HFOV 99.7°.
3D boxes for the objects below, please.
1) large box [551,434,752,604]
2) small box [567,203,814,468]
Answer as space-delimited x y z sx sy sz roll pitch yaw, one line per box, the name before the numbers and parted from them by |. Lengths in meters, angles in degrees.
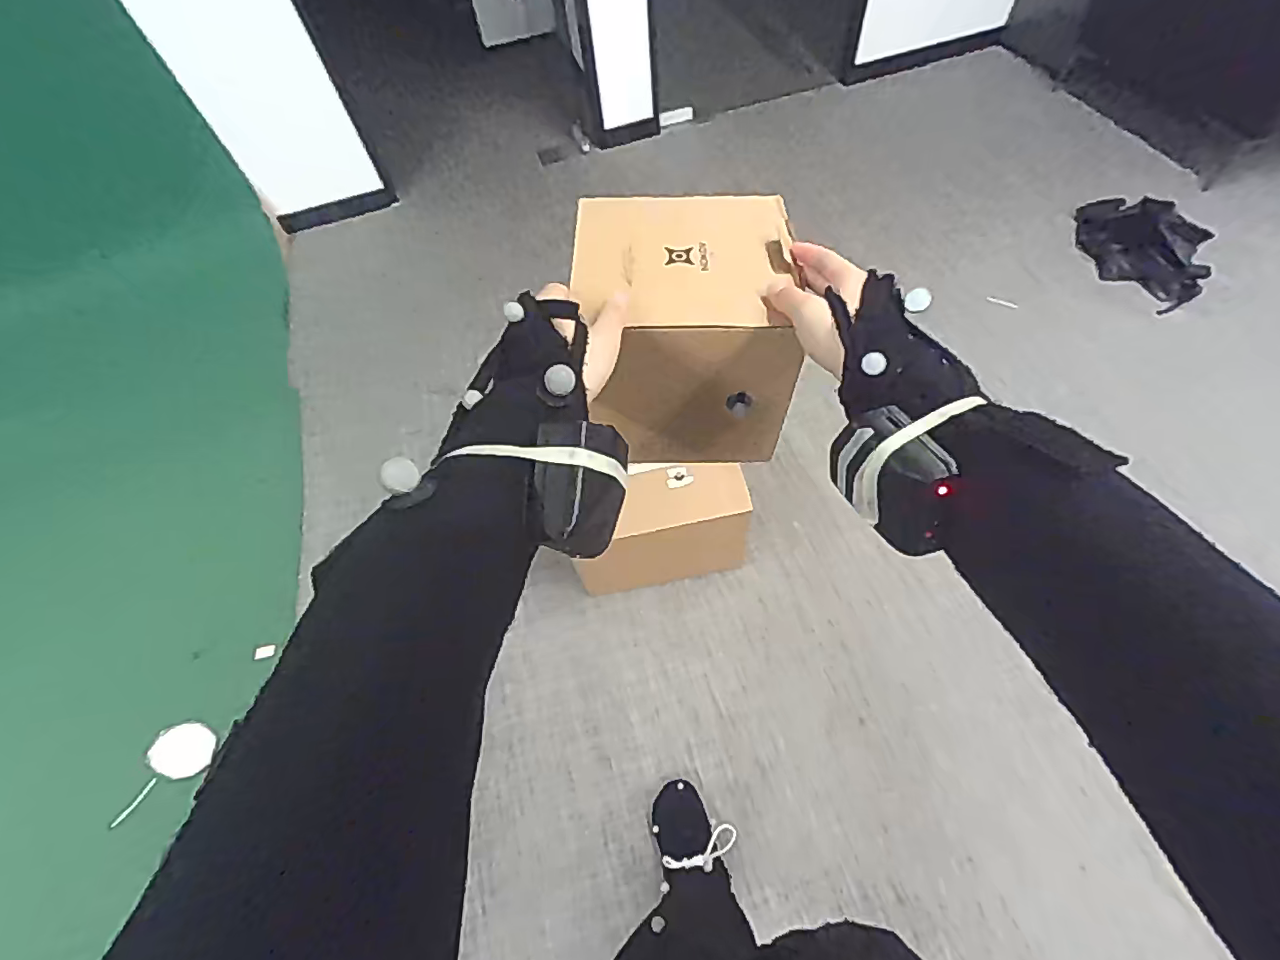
large box | 0.022 0.072 1.324 0.408 0.320 0.320 -11 58 -3
small box | 0.037 -0.123 0.487 0.179 0.176 0.168 -1 55 1
